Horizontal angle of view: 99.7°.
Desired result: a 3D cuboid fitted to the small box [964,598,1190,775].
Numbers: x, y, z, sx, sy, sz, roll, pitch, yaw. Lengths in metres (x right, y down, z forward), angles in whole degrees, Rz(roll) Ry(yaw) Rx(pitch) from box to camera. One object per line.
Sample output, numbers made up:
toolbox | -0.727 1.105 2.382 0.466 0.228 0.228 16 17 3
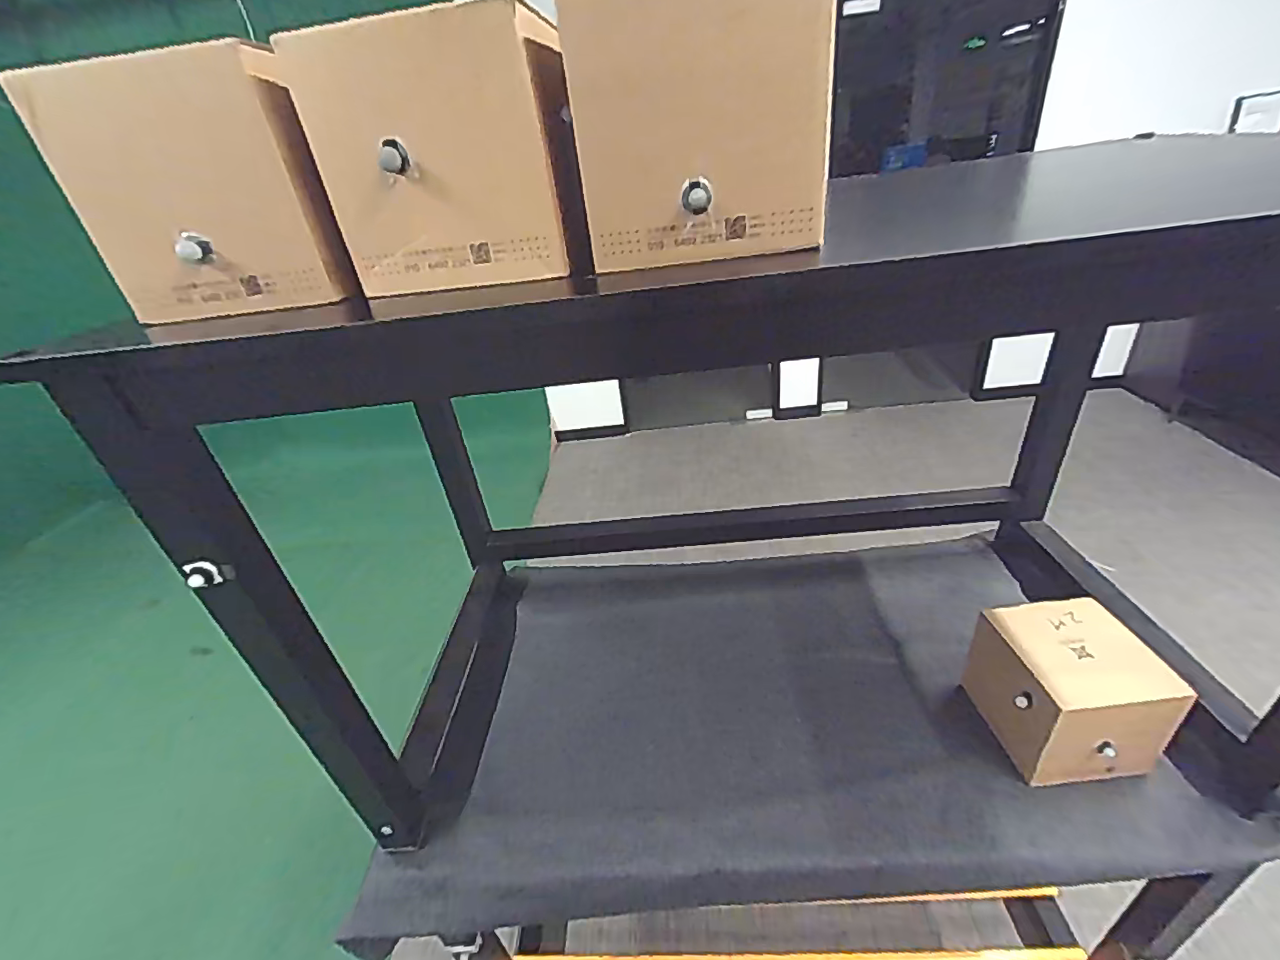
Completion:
small box | 0.603 0.298 0.776 0.168 0.176 0.179 -7 30 1

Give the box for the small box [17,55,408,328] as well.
small box | -0.324 -0.240 0.464 0.168 0.176 0.179 -6 32 3
